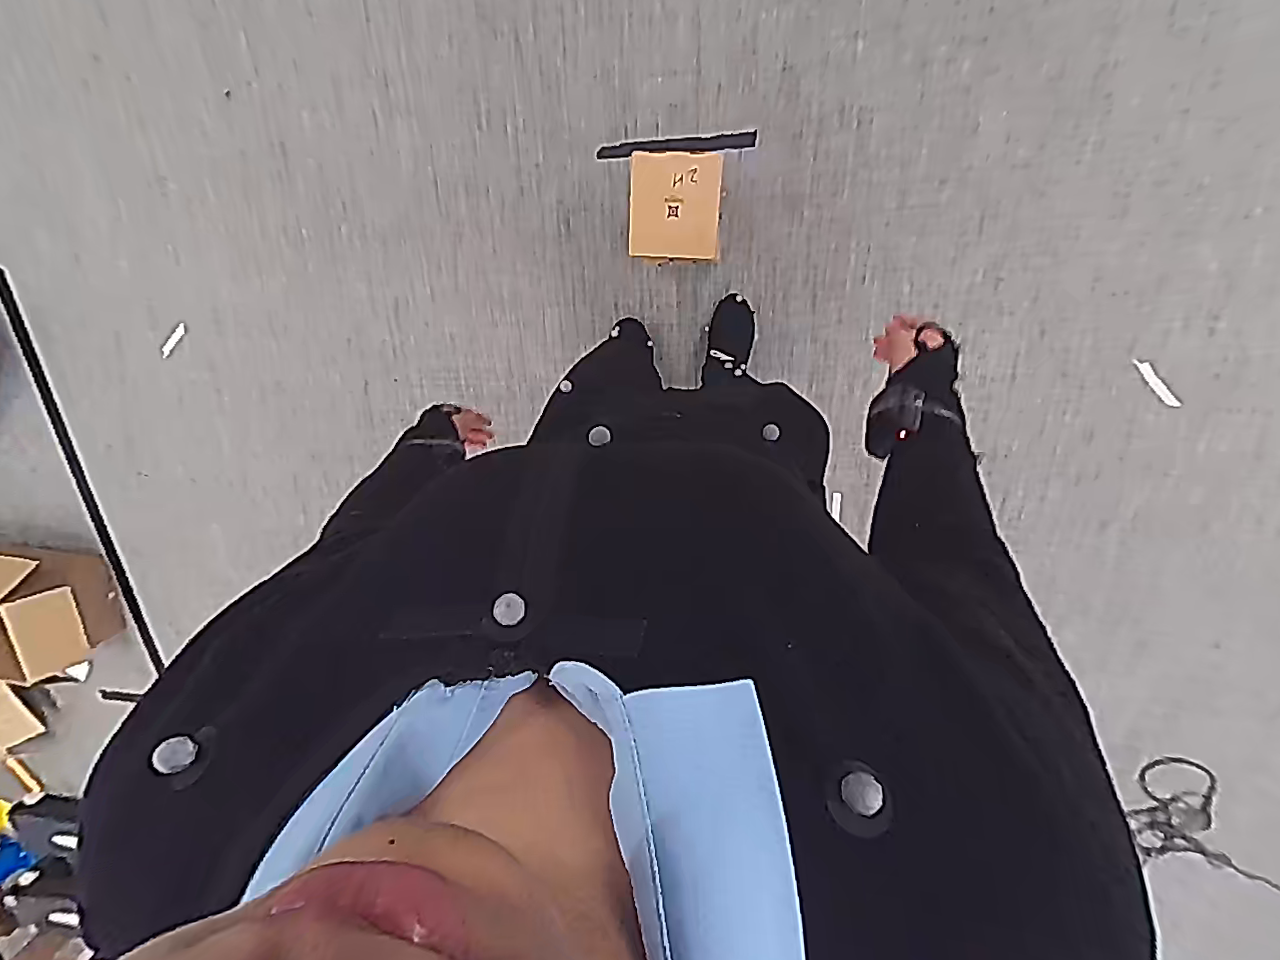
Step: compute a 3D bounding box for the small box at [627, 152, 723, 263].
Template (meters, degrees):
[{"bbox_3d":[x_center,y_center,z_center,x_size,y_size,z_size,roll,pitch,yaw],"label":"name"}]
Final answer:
[{"bbox_3d":[0.072,-0.525,1.060,0.168,0.176,0.179,5,110,6],"label":"small box"}]
